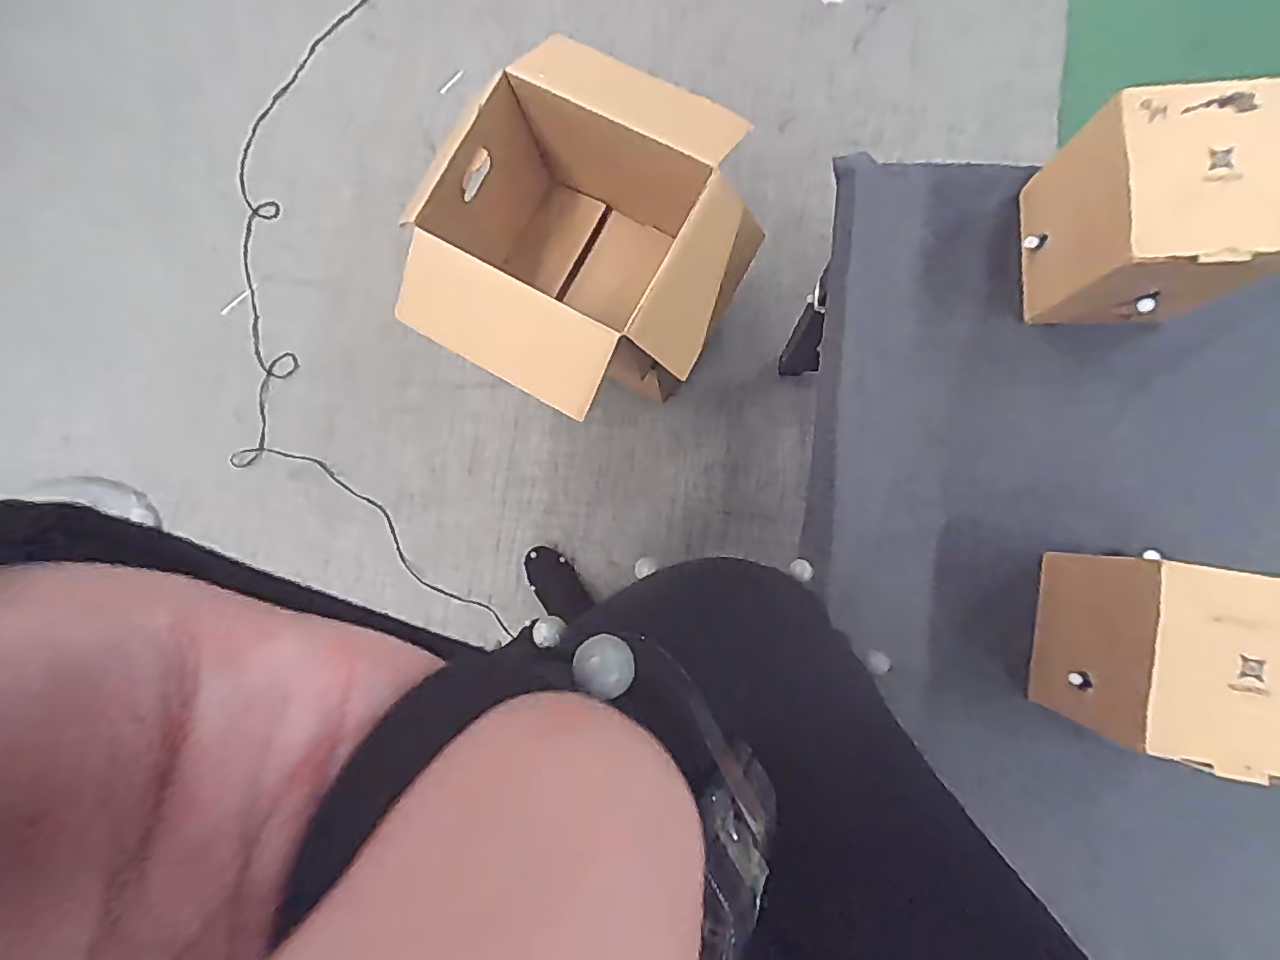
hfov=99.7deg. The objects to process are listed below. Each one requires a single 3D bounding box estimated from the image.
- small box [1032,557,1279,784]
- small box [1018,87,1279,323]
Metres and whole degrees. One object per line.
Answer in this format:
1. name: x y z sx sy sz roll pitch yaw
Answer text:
1. small box: 0.538 0.179 0.550 0.168 0.176 0.179 8 84 5
2. small box: 0.550 -0.281 0.594 0.168 0.176 0.179 0 85 5
